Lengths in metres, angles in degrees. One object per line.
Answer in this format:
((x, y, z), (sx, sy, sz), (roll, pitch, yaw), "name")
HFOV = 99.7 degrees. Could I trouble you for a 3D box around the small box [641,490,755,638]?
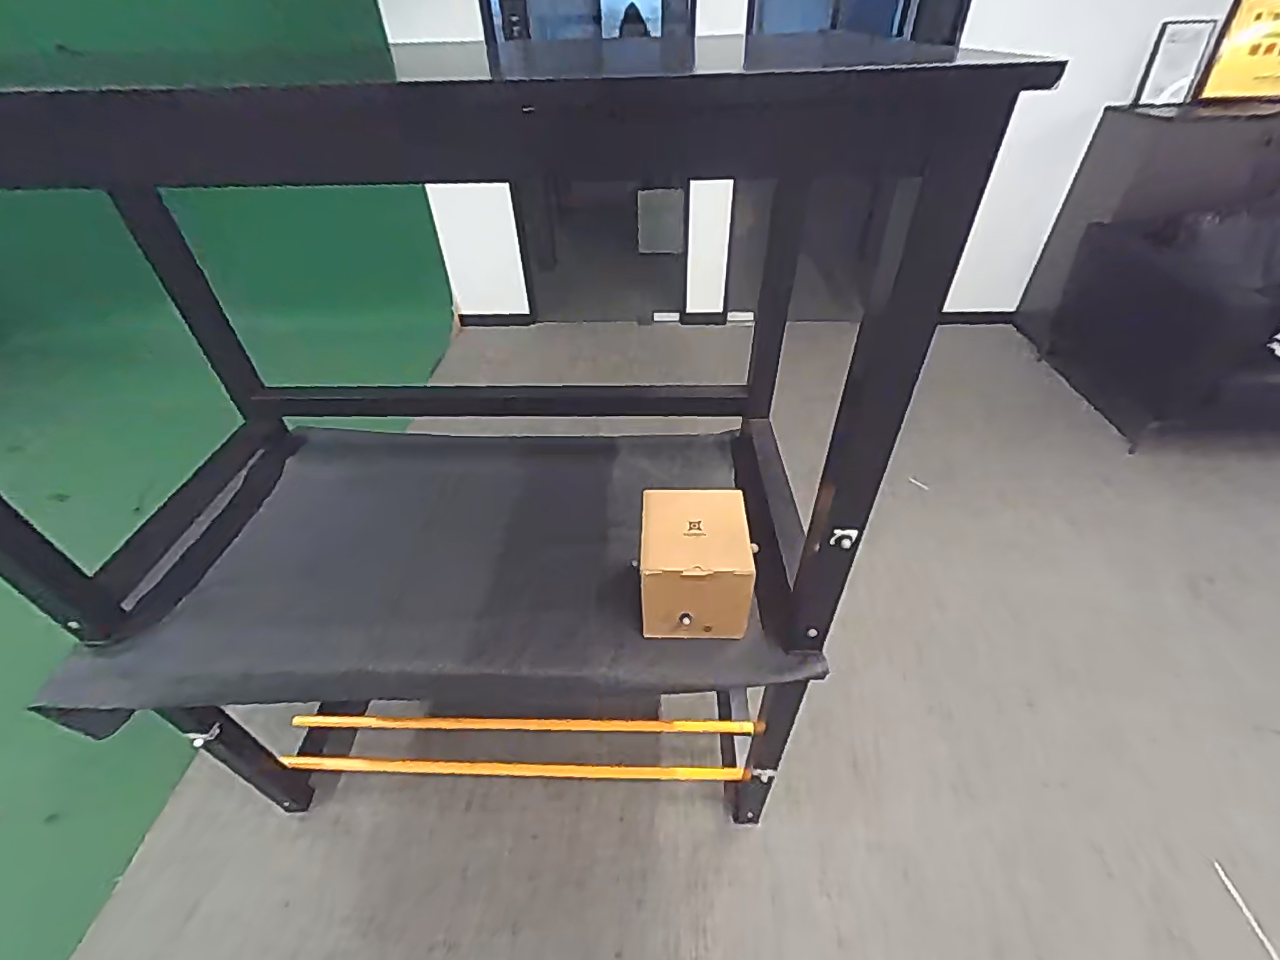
((0.087, 0.134, 0.881), (0.168, 0.176, 0.179), (0, 41, 2), "small box")
